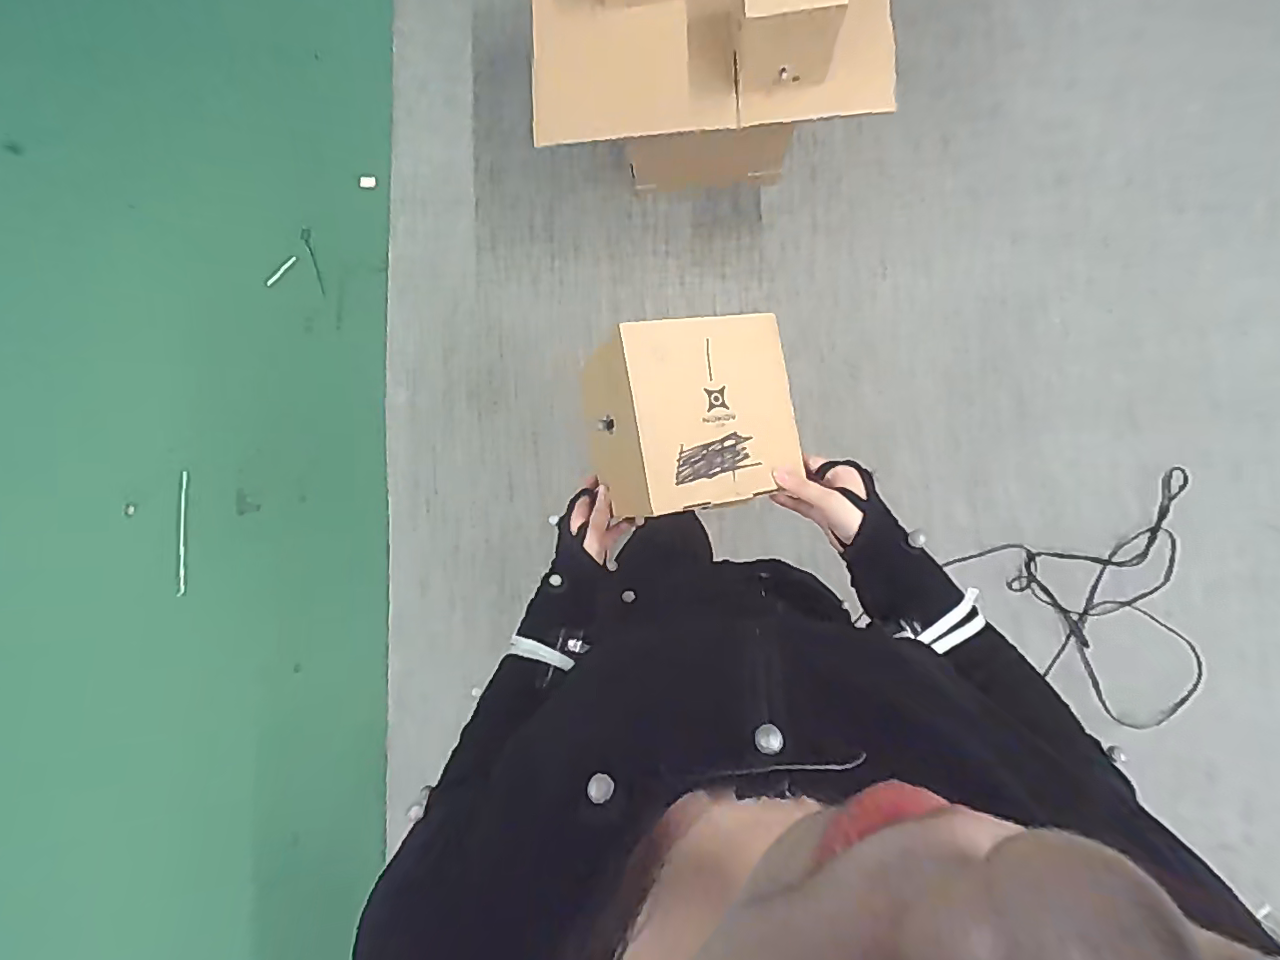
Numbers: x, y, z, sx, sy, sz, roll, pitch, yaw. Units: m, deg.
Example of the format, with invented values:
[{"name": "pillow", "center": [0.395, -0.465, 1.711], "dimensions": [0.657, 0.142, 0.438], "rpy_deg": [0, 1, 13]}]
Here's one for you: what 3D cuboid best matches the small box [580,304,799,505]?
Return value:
[{"name": "small box", "center": [0.041, -0.069, 0.577], "dimensions": [0.168, 0.176, 0.179], "rpy_deg": [-9, 87, -18]}]
